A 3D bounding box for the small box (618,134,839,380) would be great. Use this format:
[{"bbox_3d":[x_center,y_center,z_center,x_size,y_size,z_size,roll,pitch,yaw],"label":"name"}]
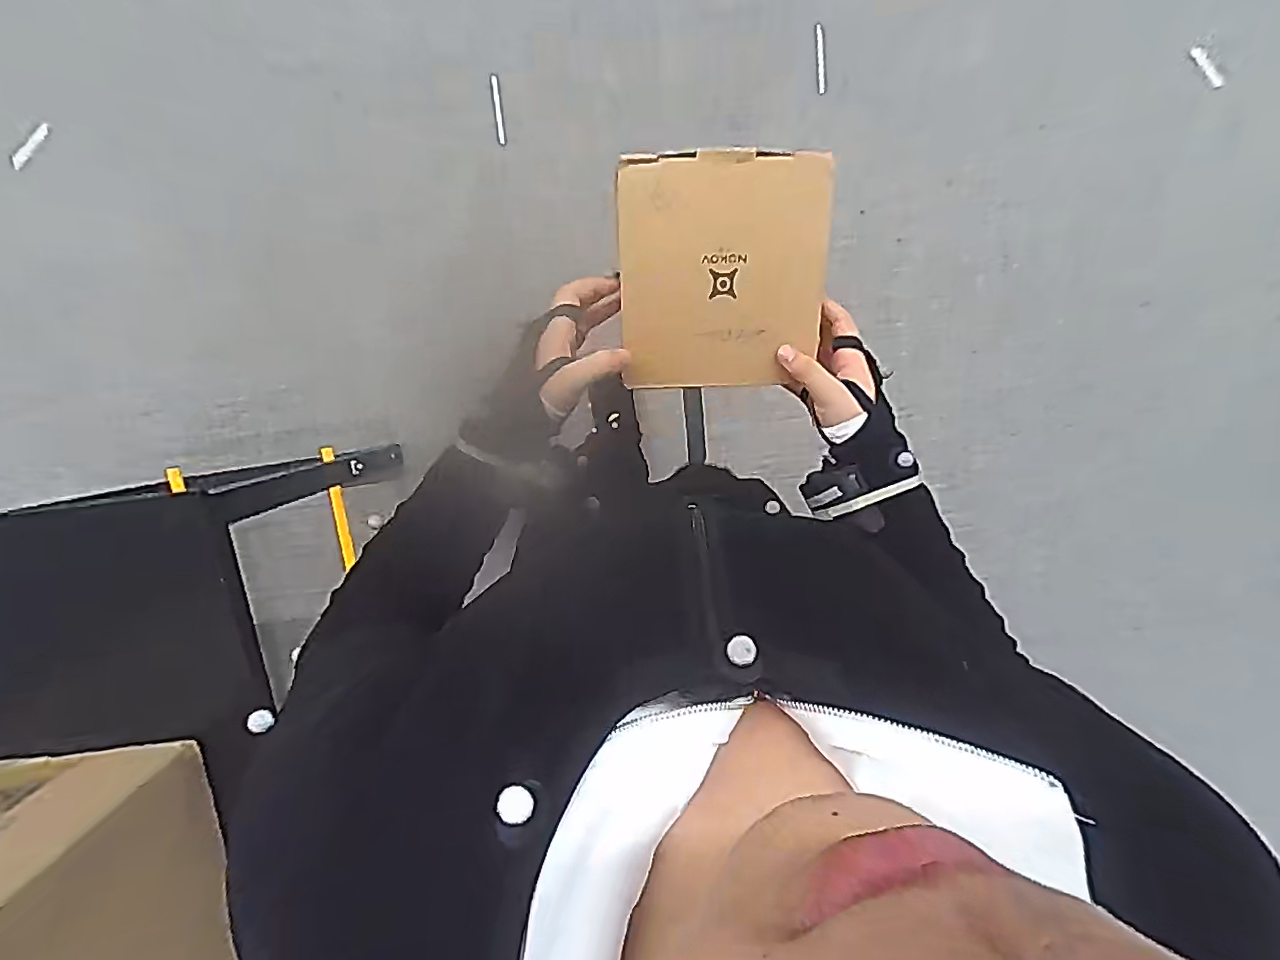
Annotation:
[{"bbox_3d":[0.065,-0.197,0.497,0.168,0.176,0.179,-3,113,0],"label":"small box"}]
